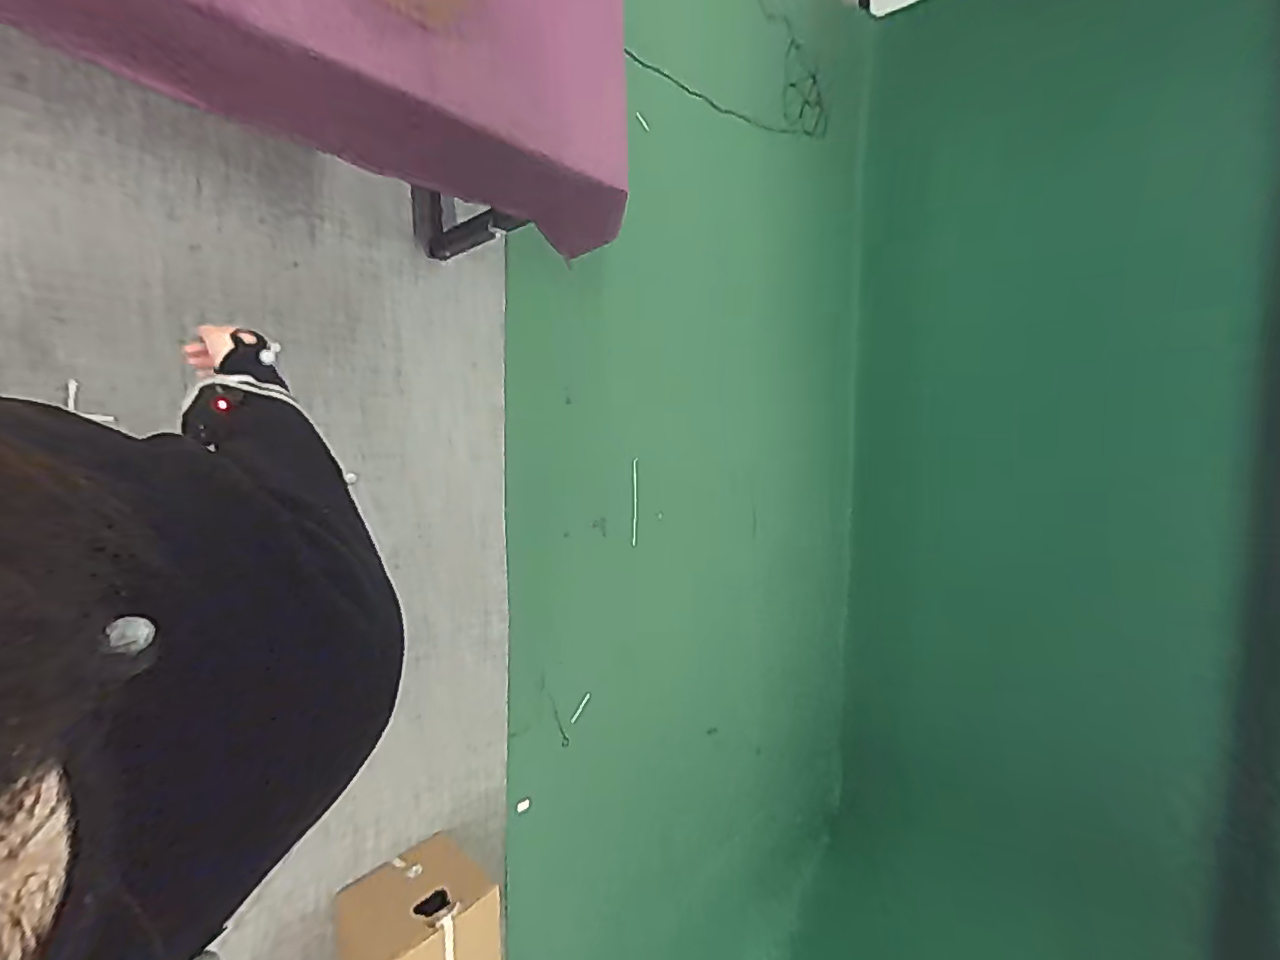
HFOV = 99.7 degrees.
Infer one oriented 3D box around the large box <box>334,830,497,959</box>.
[{"bbox_3d":[-0.613,1.298,1.491,0.320,0.320,0.408,-5,98,-50],"label":"large box"}]
